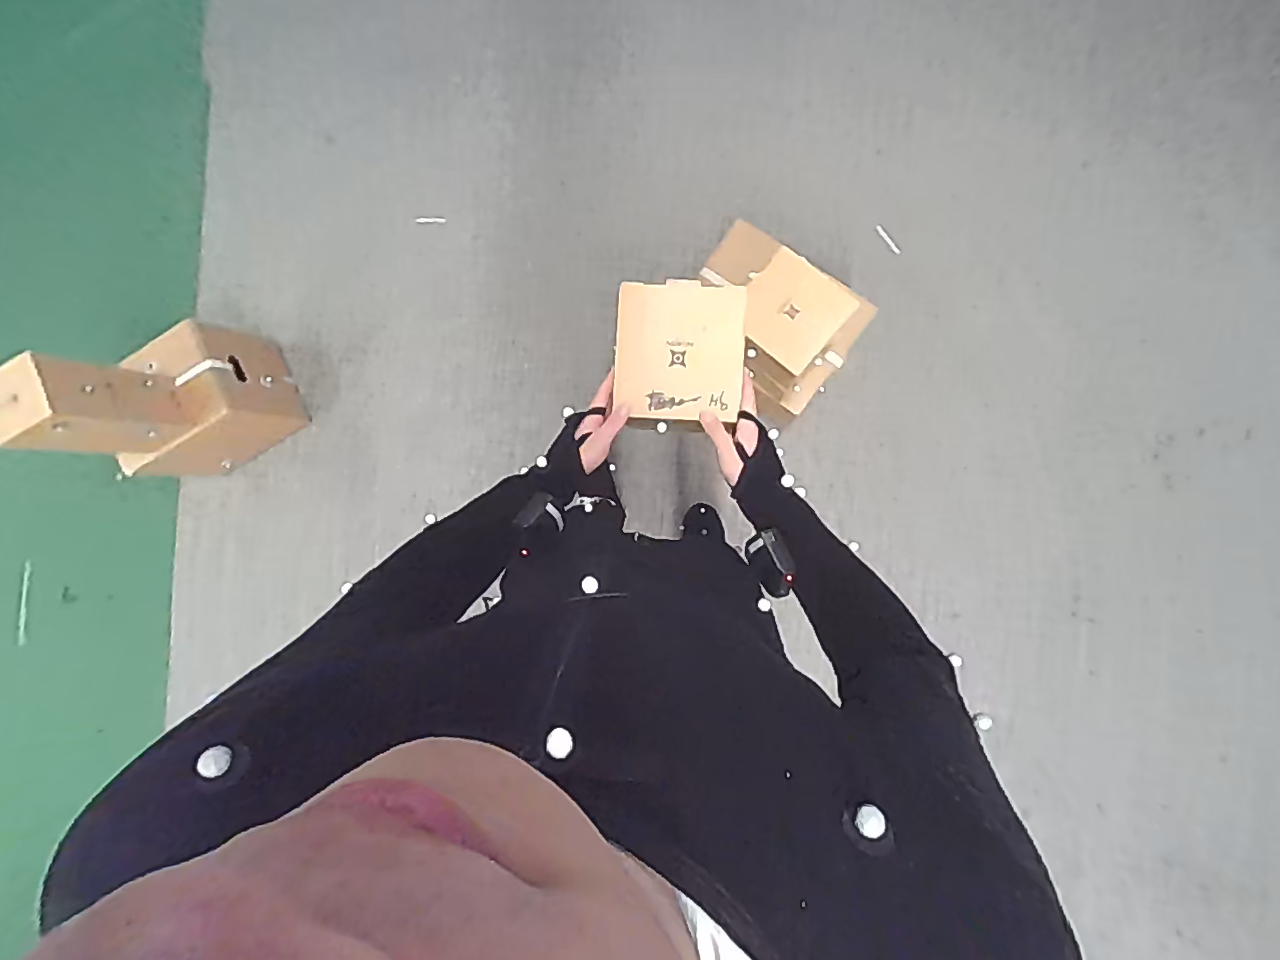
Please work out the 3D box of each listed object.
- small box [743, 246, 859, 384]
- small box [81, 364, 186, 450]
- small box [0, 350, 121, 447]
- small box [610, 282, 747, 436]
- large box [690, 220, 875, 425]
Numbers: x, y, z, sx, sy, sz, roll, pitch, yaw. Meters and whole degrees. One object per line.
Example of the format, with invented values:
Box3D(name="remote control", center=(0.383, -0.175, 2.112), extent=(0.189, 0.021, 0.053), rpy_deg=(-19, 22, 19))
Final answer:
Box3D(name="small box", center=(0.281, -0.299, 1.029), extent=(0.179, 0.176, 0.168), rpy_deg=(41, 98, 9))
Box3D(name="small box", center=(-1.389, -0.192, 1.469), extent=(0.179, 0.176, 0.168), rpy_deg=(-27, 86, 9))
Box3D(name="small box", center=(-1.415, -0.189, 1.306), extent=(0.179, 0.176, 0.168), rpy_deg=(-25, 86, 9))
Box3D(name="small box", center=(0.054, -0.161, 0.762), extent=(0.168, 0.176, 0.179), rpy_deg=(3, 90, 5))
Box3D(name="large box", center=(0.330, -0.391, 1.434), extent=(0.408, 0.320, 0.320), rpy_deg=(37, 95, 8))
